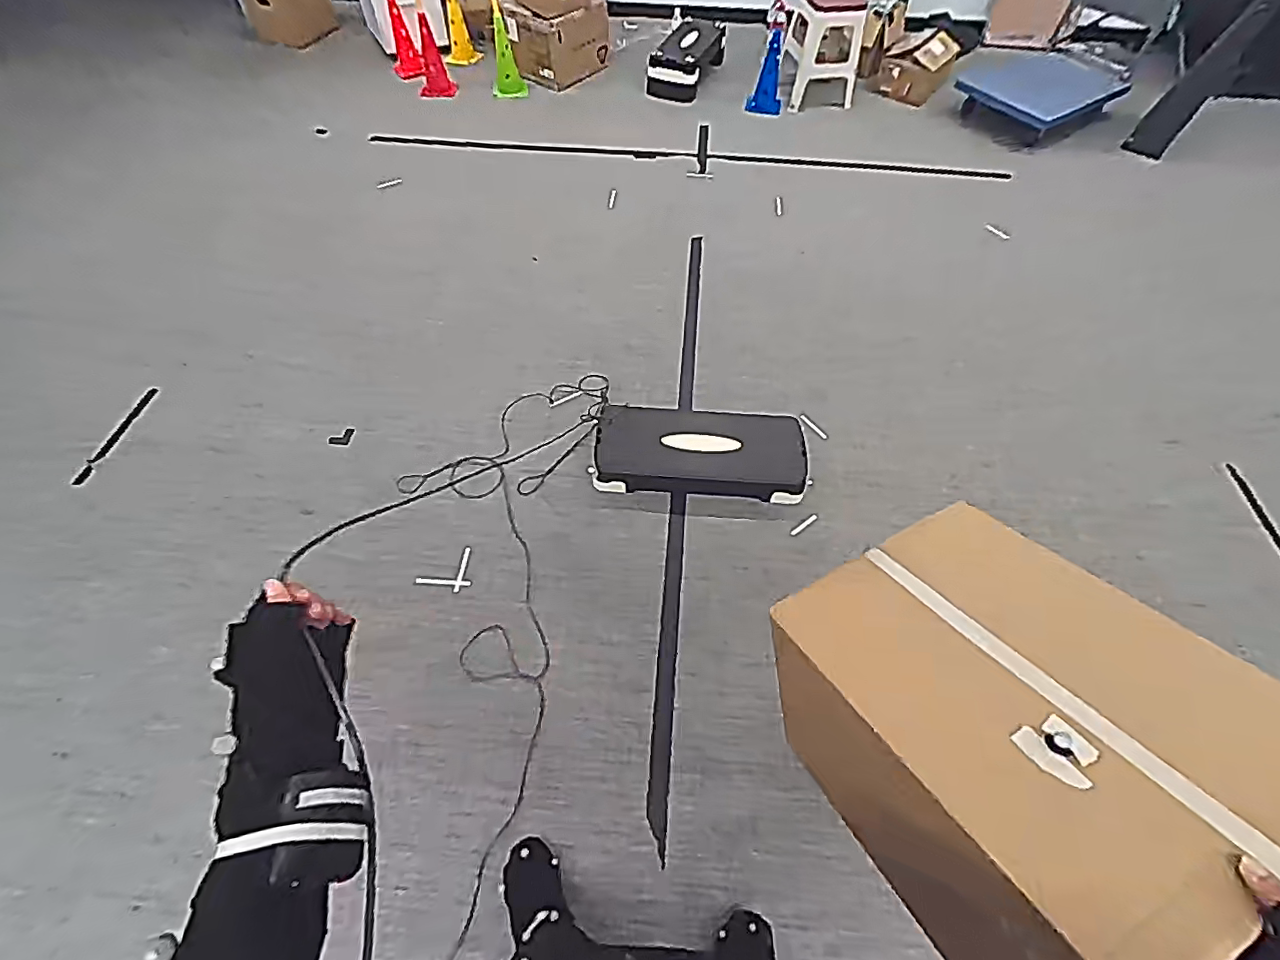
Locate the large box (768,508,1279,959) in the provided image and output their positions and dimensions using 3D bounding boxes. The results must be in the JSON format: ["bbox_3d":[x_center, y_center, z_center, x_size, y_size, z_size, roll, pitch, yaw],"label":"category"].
[{"bbox_3d":[0.400,0.304,0.626,0.320,0.320,0.408,-26,37,-12],"label":"large box"}]
